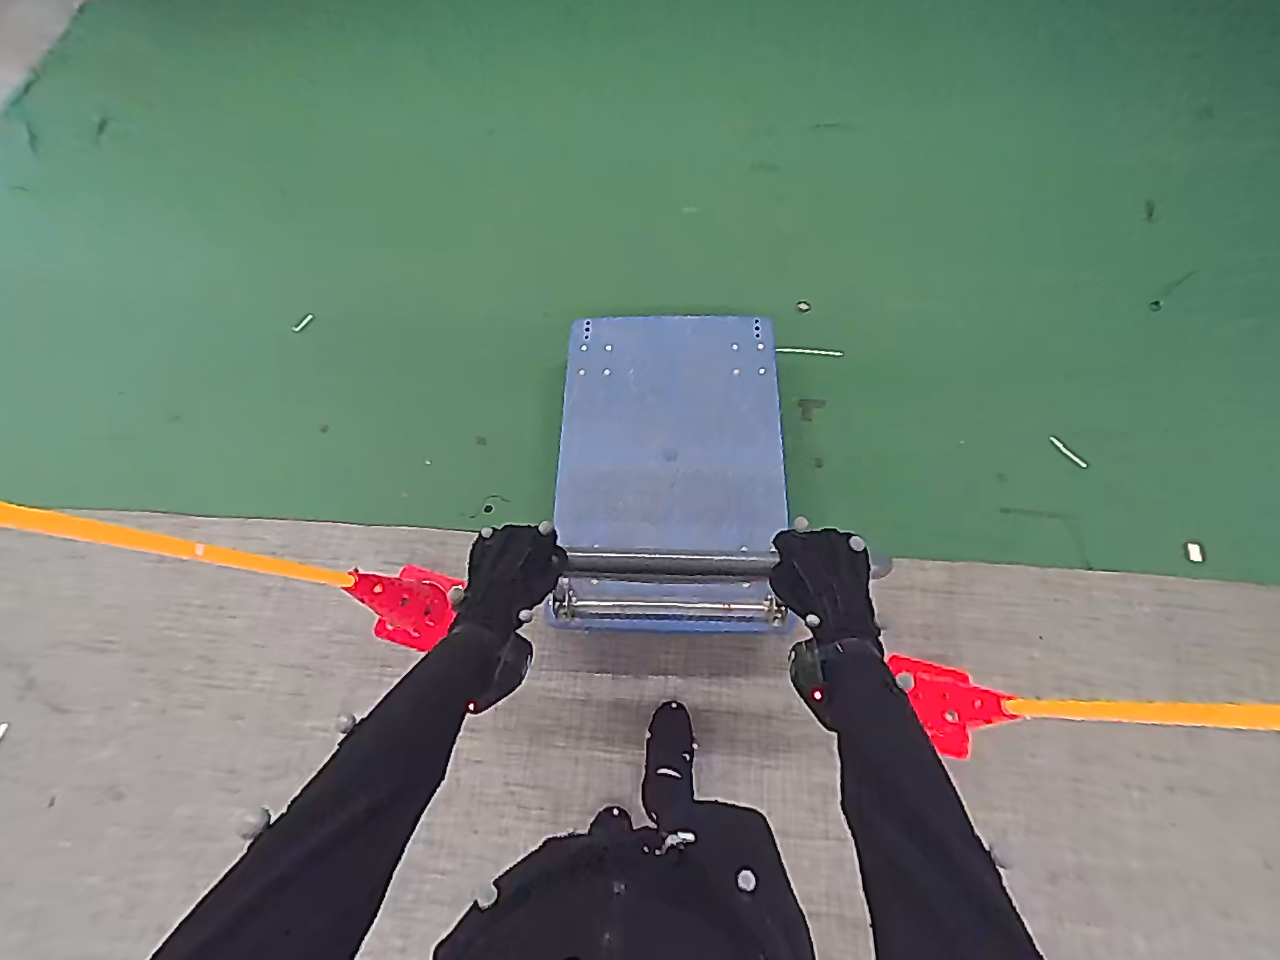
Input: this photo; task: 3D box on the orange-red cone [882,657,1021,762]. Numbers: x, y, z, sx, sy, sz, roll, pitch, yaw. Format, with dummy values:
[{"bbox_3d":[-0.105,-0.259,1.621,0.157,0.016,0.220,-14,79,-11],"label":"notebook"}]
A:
[{"bbox_3d":[0.674,0.477,1.125,0.198,0.360,0.199,14,70,9],"label":"orange-red cone"}]
